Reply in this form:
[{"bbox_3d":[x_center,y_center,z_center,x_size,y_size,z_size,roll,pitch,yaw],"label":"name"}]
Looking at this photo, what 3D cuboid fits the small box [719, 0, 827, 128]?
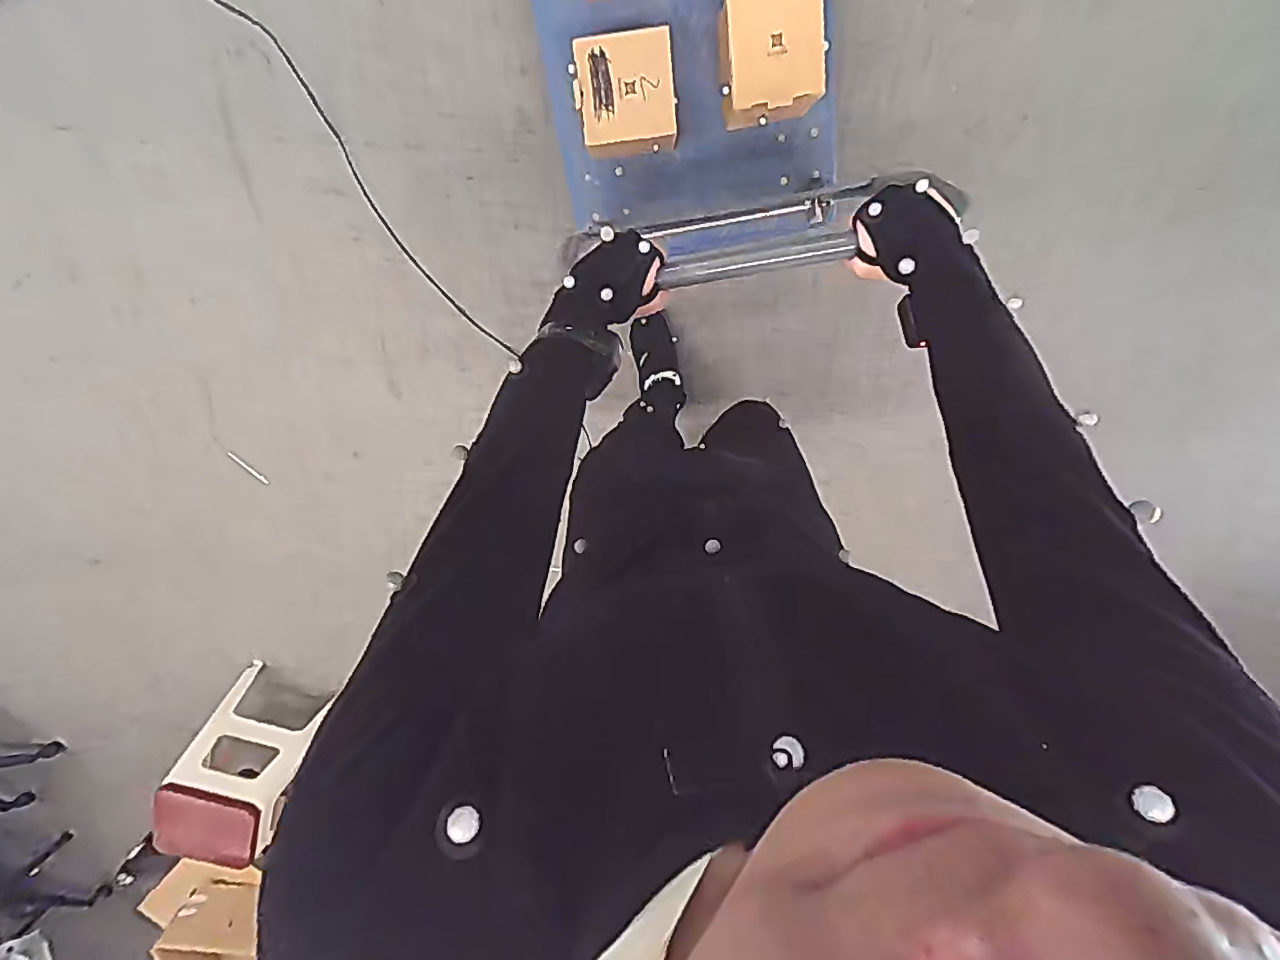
[{"bbox_3d":[0.247,-0.800,1.027,0.168,0.176,0.179,-8,113,5],"label":"small box"}]
